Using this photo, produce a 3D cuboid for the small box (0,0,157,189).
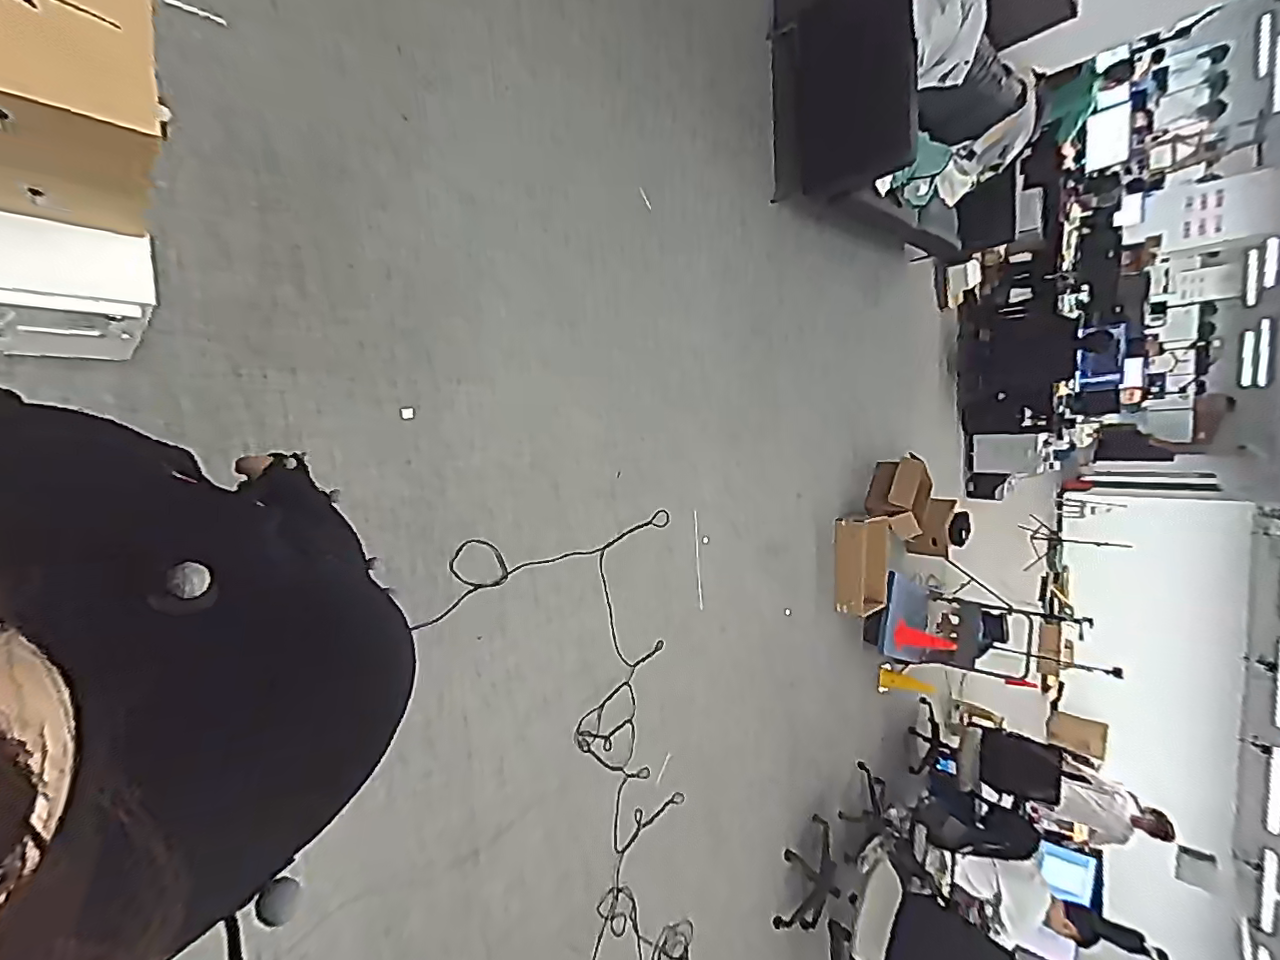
[{"bbox_3d":[-0.528,-0.374,0.452,0.179,0.176,0.168,-4,95,-45],"label":"small box"}]
